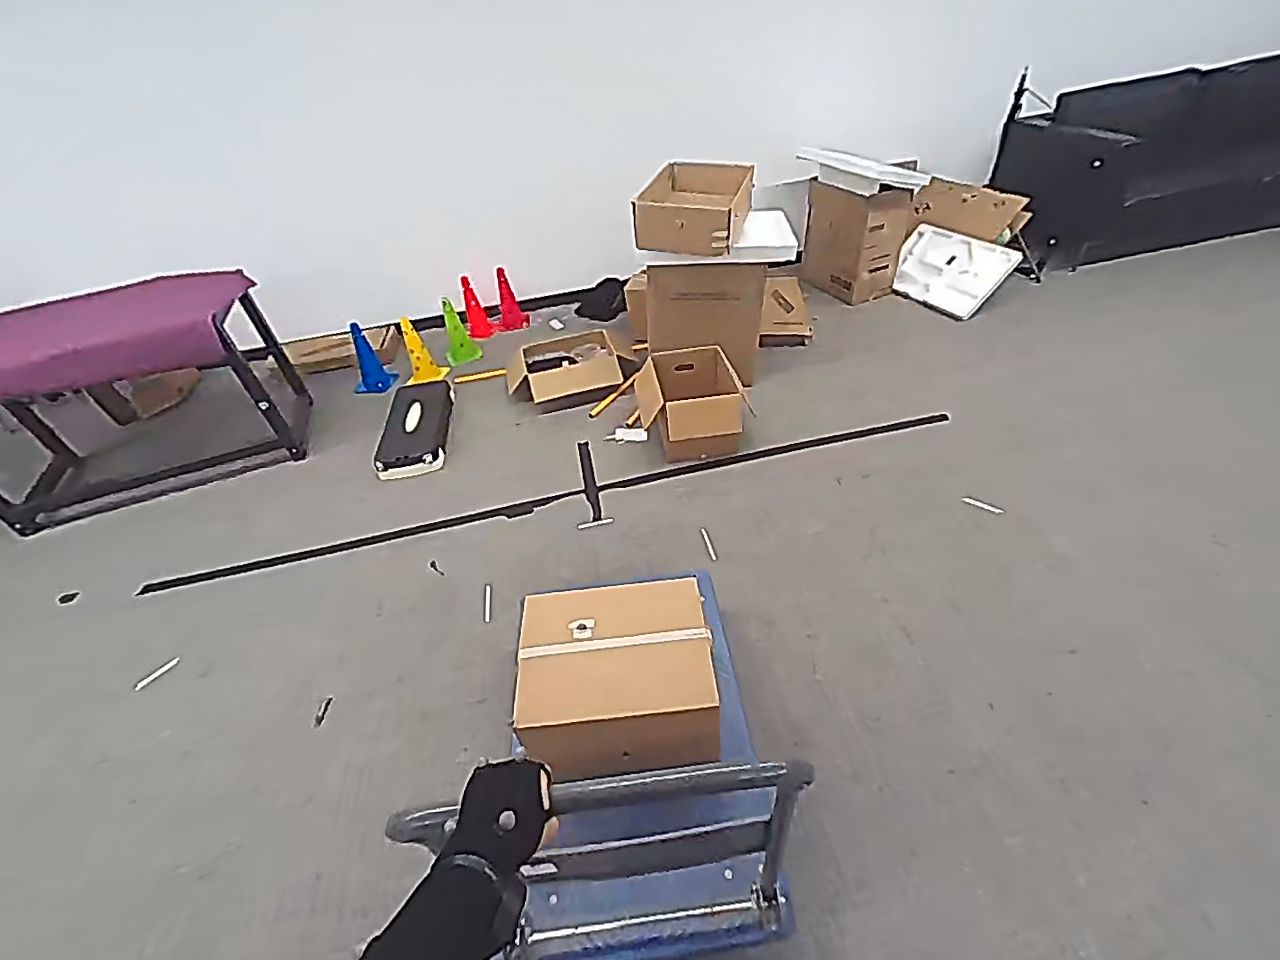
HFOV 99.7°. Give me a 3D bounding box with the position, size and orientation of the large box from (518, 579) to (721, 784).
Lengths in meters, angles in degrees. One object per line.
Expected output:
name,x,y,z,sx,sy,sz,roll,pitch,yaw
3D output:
large box,-0.038,0.471,1.260,0.408,0.320,0.320,-8,40,1
